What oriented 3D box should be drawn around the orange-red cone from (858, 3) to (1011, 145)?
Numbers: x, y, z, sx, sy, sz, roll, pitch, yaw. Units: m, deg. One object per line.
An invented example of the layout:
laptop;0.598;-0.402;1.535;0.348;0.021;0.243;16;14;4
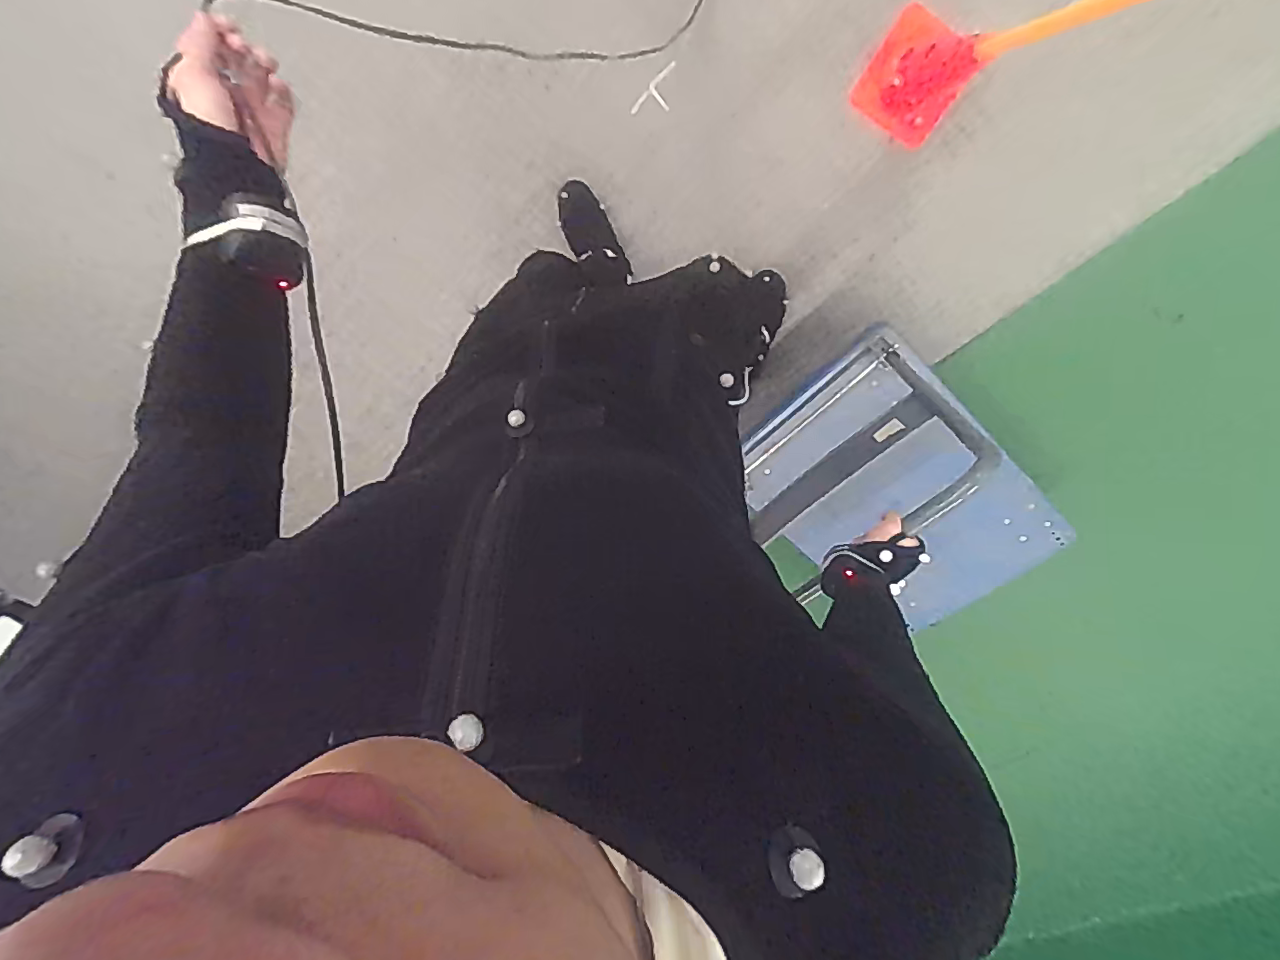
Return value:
orange-red cone;0.586;-0.780;1.013;0.198;0.360;0.199;30;117;-12
